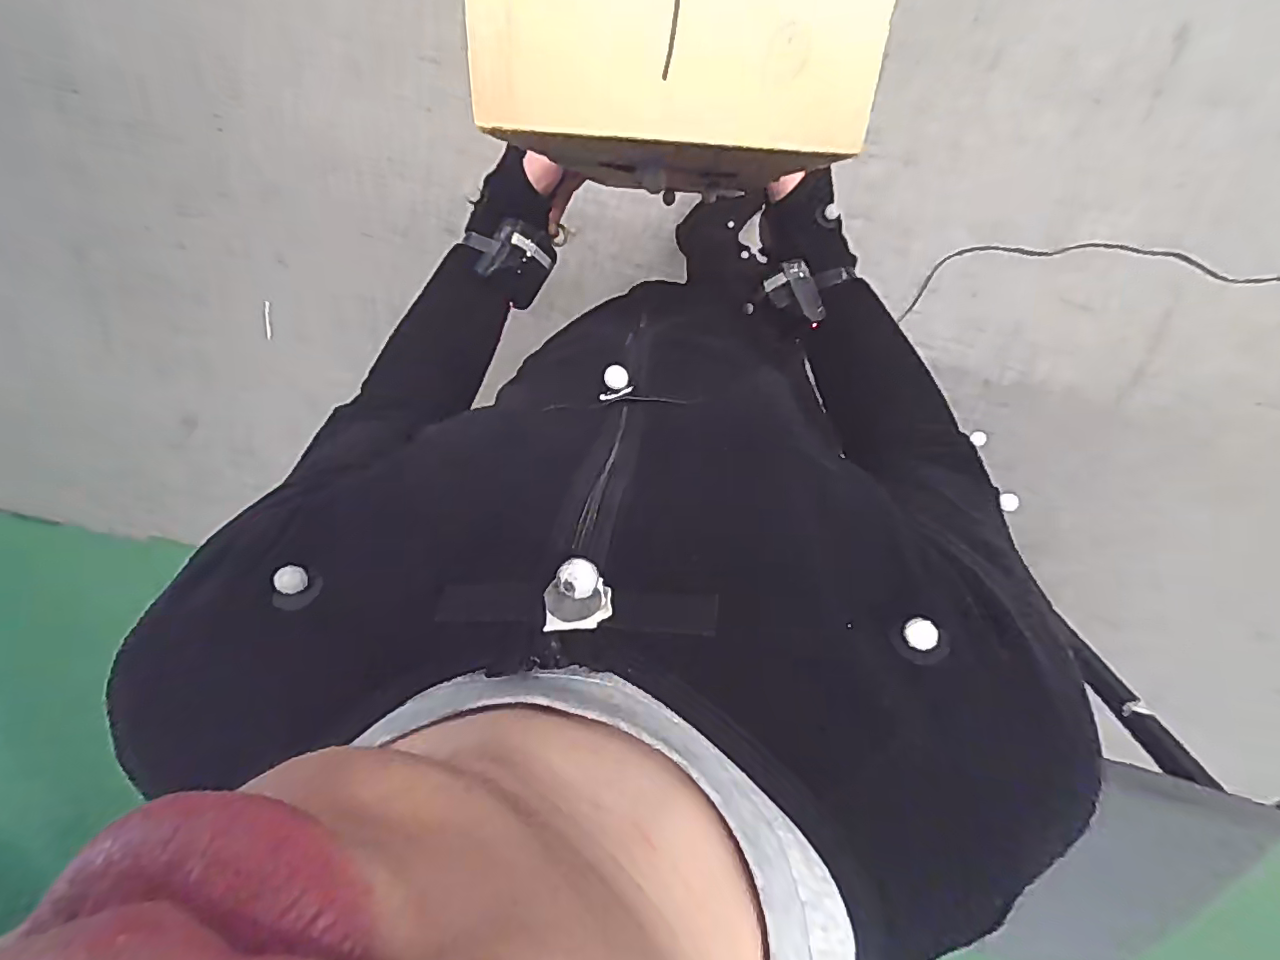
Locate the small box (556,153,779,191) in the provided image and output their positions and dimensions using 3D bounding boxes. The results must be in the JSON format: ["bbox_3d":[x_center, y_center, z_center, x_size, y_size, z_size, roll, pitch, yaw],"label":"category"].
[{"bbox_3d":[0.031,-0.329,0.417,0.168,0.176,0.179,4,115,1],"label":"small box"}]

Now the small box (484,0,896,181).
[{"bbox_3d":[0.024,-0.258,0.269,0.168,0.176,0.179,4,117,0],"label":"small box"}]
